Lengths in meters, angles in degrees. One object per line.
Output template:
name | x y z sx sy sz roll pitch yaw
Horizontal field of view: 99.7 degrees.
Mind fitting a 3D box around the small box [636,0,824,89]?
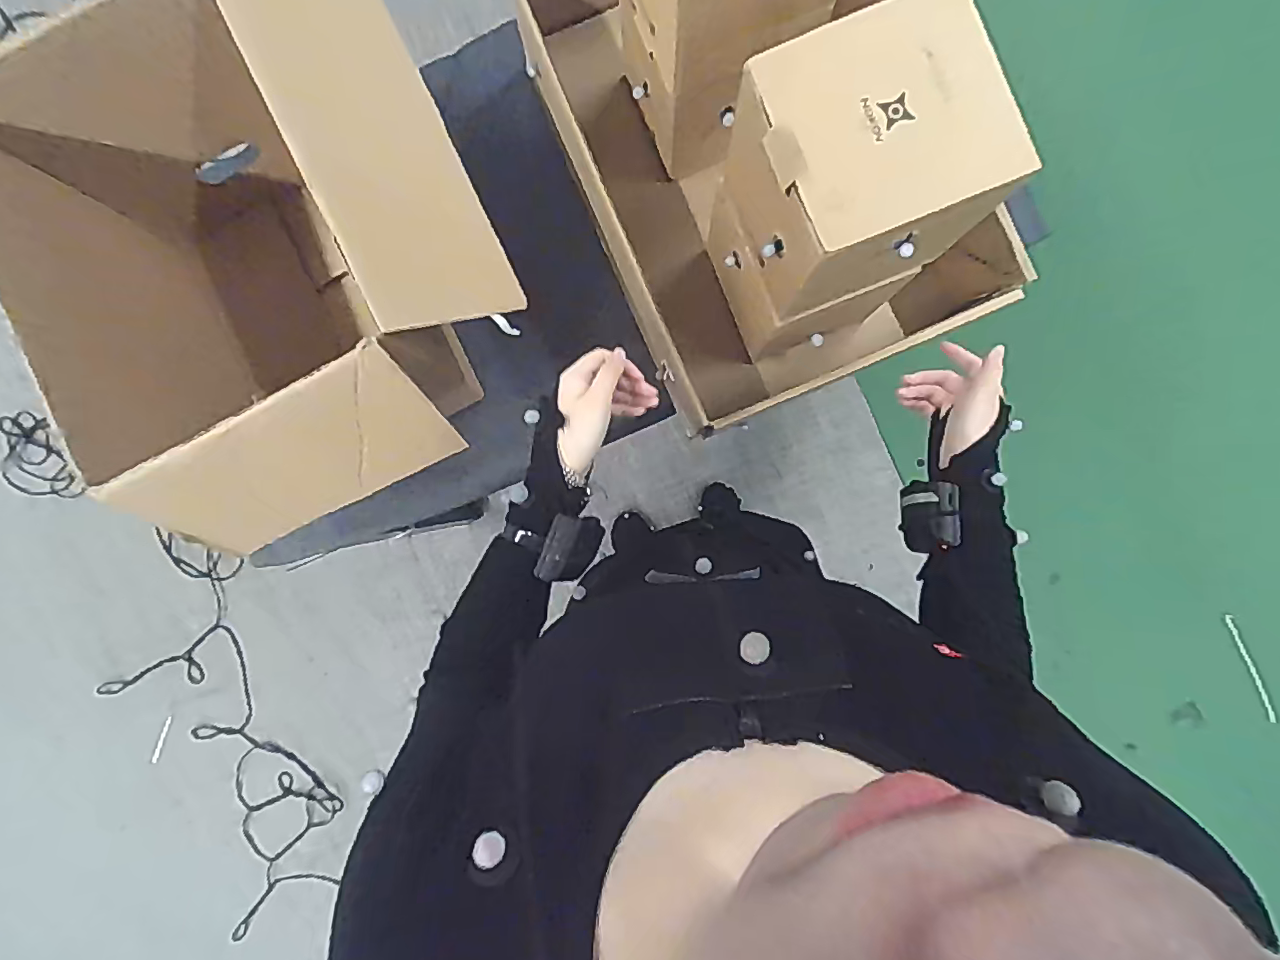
small box | 0.080 -0.515 0.499 0.179 0.176 0.168 -21 90 1

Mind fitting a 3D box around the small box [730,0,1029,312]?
small box | 0.191 -0.277 0.494 0.179 0.176 0.168 -22 90 2
